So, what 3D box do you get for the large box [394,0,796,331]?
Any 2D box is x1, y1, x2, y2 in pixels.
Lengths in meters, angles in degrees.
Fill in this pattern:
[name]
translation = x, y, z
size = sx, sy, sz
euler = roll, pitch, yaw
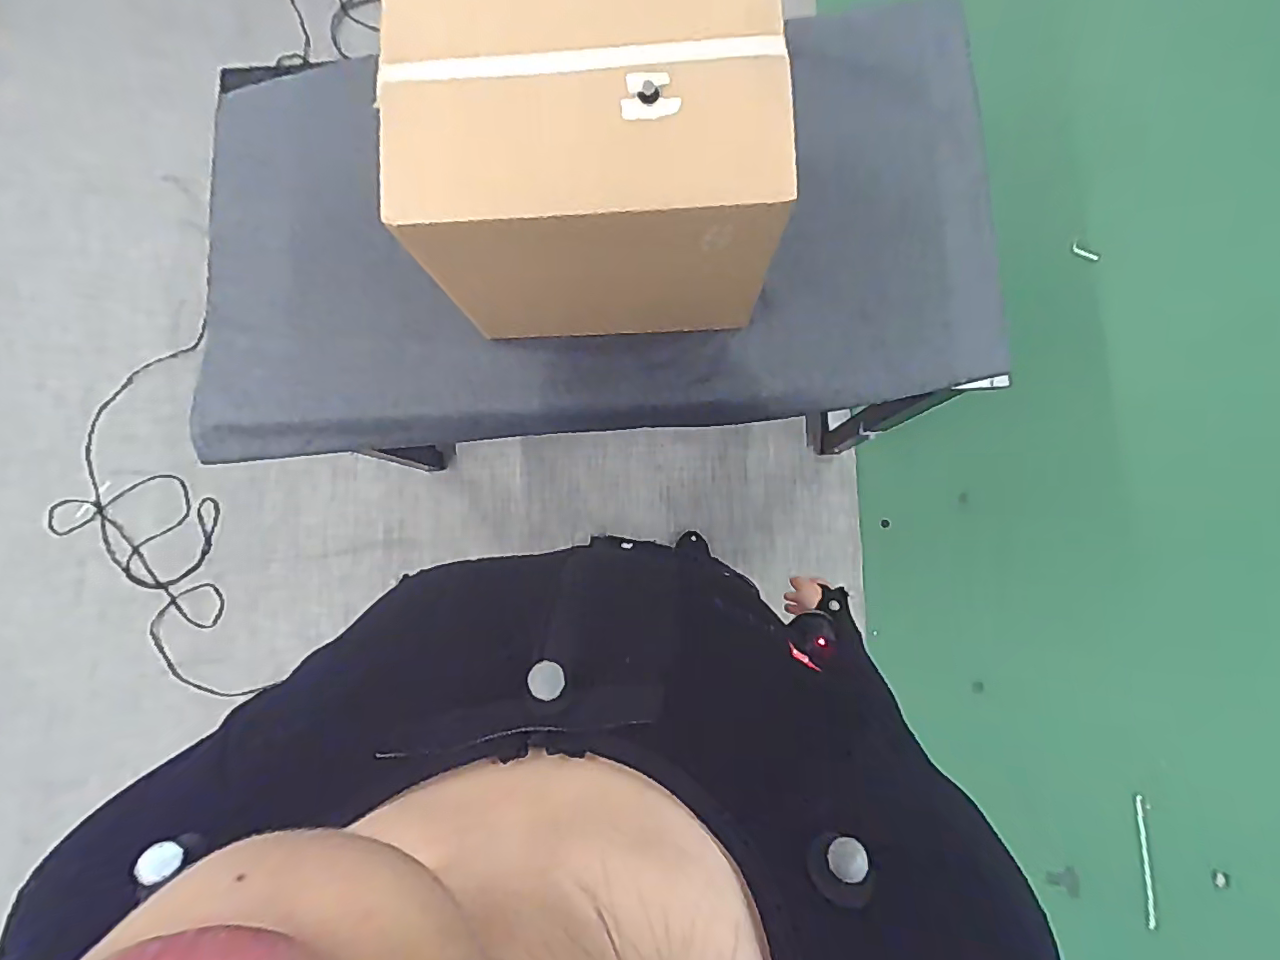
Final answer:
[large box]
translation = -0.050, -0.404, 0.694
size = 0.408, 0.320, 0.320
euler = -3, 85, 2
